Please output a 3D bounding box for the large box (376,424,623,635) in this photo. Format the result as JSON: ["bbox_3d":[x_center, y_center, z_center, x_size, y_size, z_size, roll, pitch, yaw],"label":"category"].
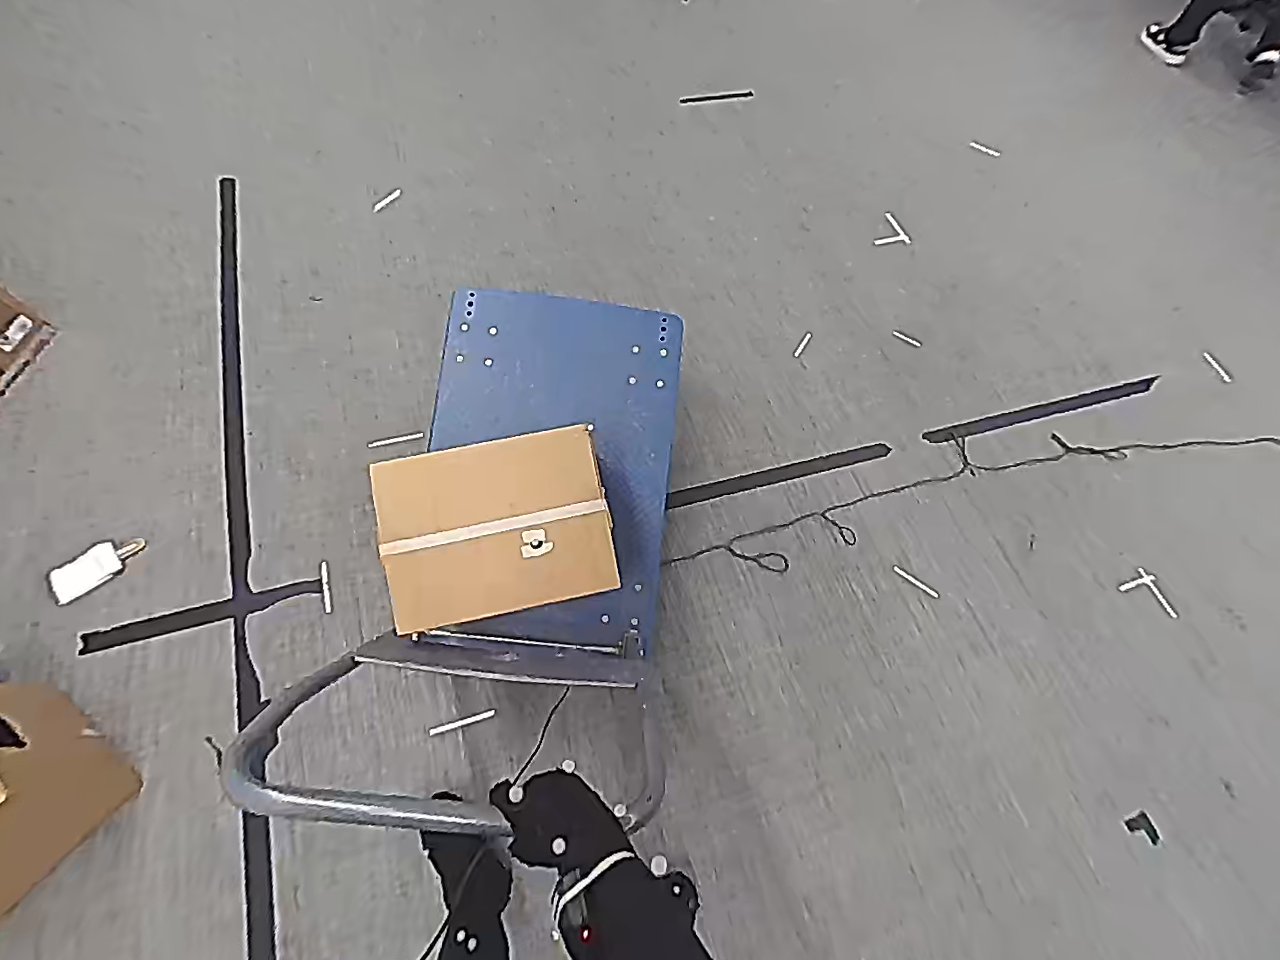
[{"bbox_3d":[-0.269,0.102,1.136,0.408,0.320,0.320,-12,85,-6],"label":"large box"}]
